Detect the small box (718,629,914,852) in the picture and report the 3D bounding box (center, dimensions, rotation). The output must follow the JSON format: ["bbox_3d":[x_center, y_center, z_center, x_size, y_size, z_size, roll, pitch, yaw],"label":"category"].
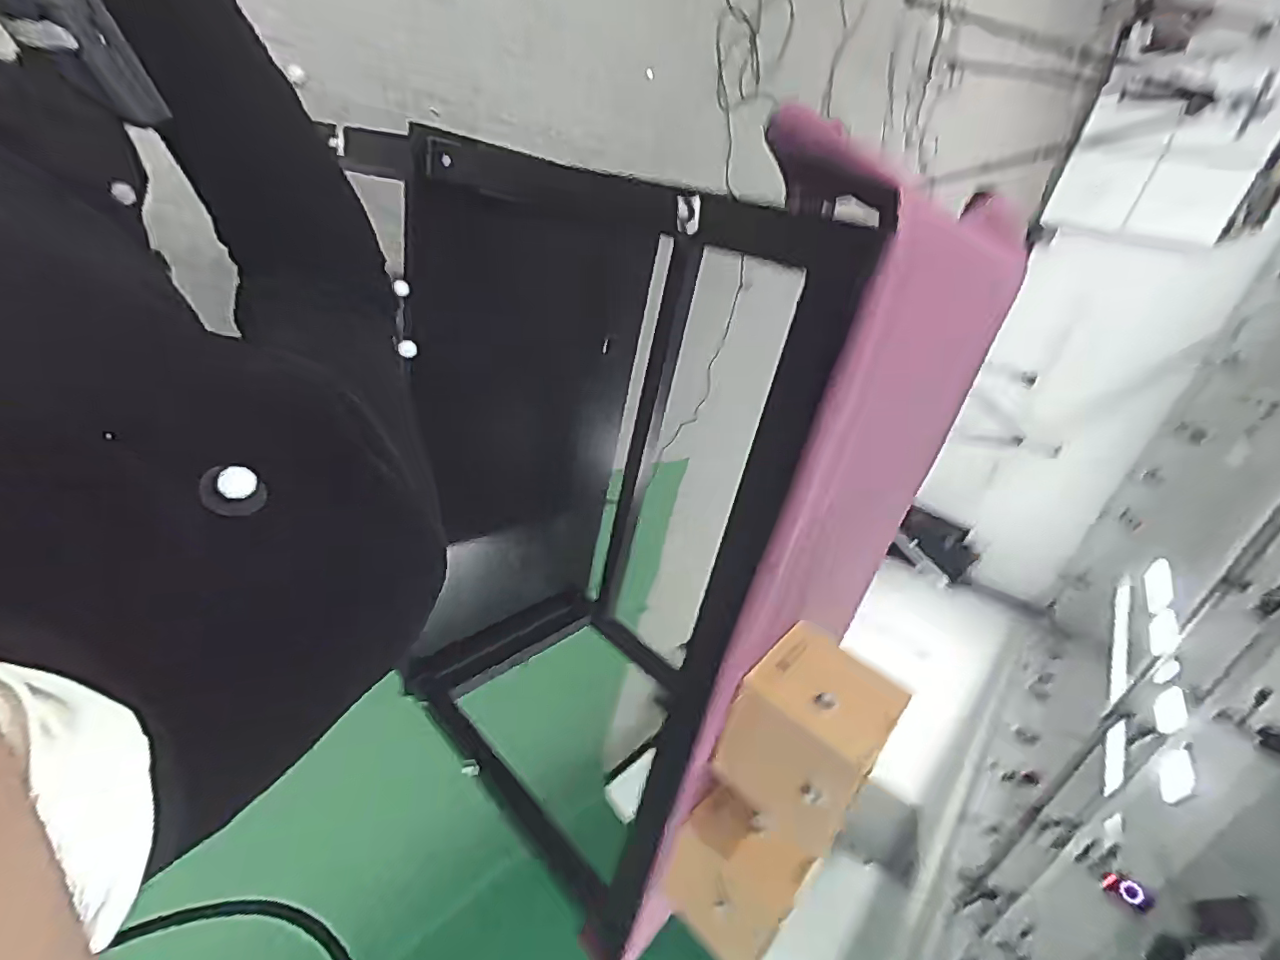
[{"bbox_3d":[0.224,0.323,0.714,0.168,0.176,0.179,-20,131,-46],"label":"small box"}]

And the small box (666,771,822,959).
[{"bbox_3d":[0.160,0.579,0.829,0.168,0.176,0.179,-17,127,-46],"label":"small box"}]
